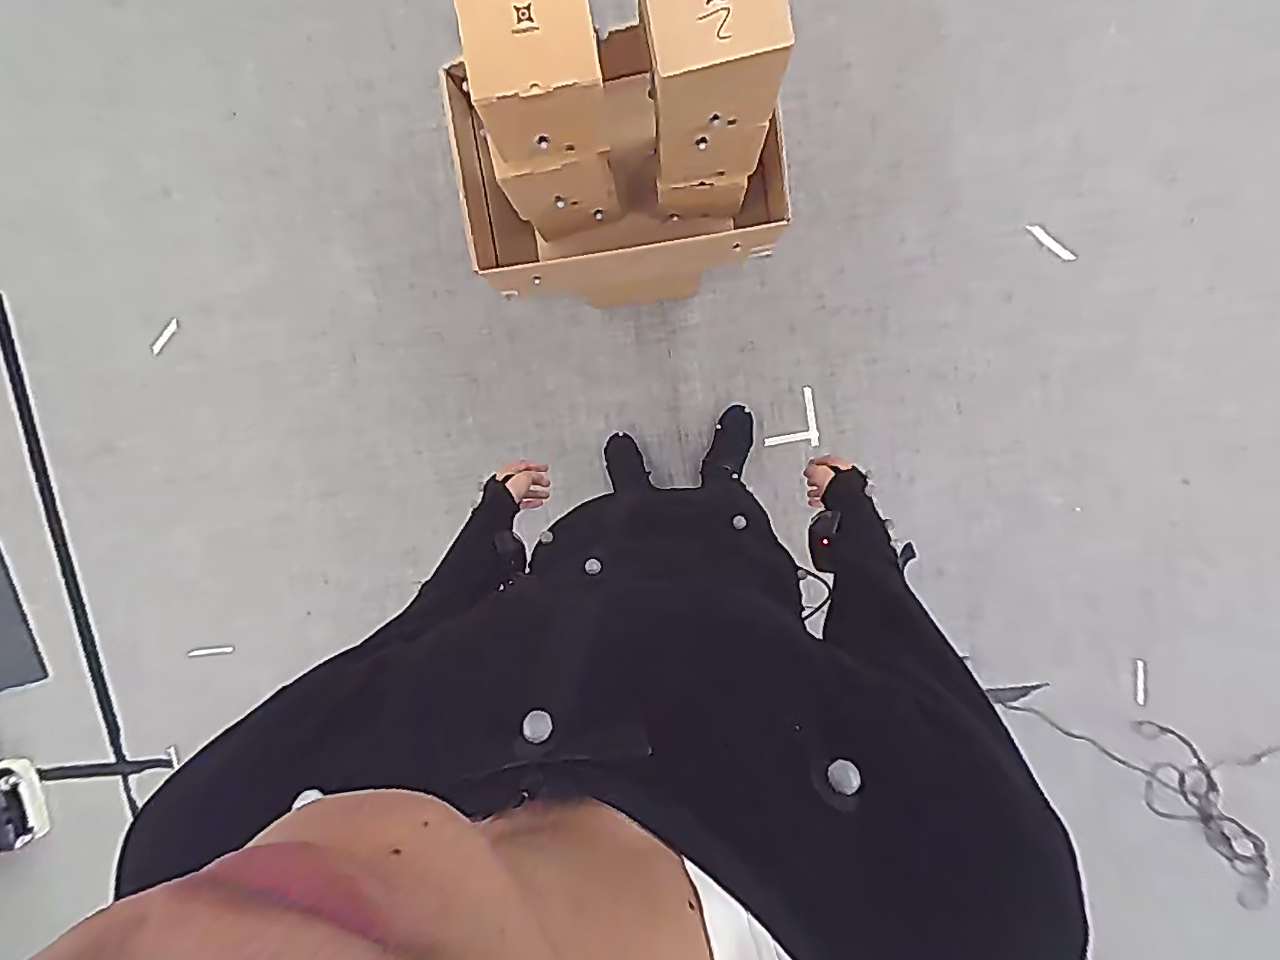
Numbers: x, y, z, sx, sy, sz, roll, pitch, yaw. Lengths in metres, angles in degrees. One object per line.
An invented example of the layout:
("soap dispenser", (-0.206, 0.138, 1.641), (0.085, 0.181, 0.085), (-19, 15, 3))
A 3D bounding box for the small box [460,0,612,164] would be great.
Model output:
("small box", (-0.134, -0.572, 0.740), (0.168, 0.176, 0.179), (-9, 96, 2))

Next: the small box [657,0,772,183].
("small box", (0.114, -0.617, 0.879), (0.168, 0.176, 0.179), (-4, 96, 4))

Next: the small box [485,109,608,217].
("small box", (-0.153, -0.573, 0.905), (0.168, 0.176, 0.179), (-12, 97, 3))
